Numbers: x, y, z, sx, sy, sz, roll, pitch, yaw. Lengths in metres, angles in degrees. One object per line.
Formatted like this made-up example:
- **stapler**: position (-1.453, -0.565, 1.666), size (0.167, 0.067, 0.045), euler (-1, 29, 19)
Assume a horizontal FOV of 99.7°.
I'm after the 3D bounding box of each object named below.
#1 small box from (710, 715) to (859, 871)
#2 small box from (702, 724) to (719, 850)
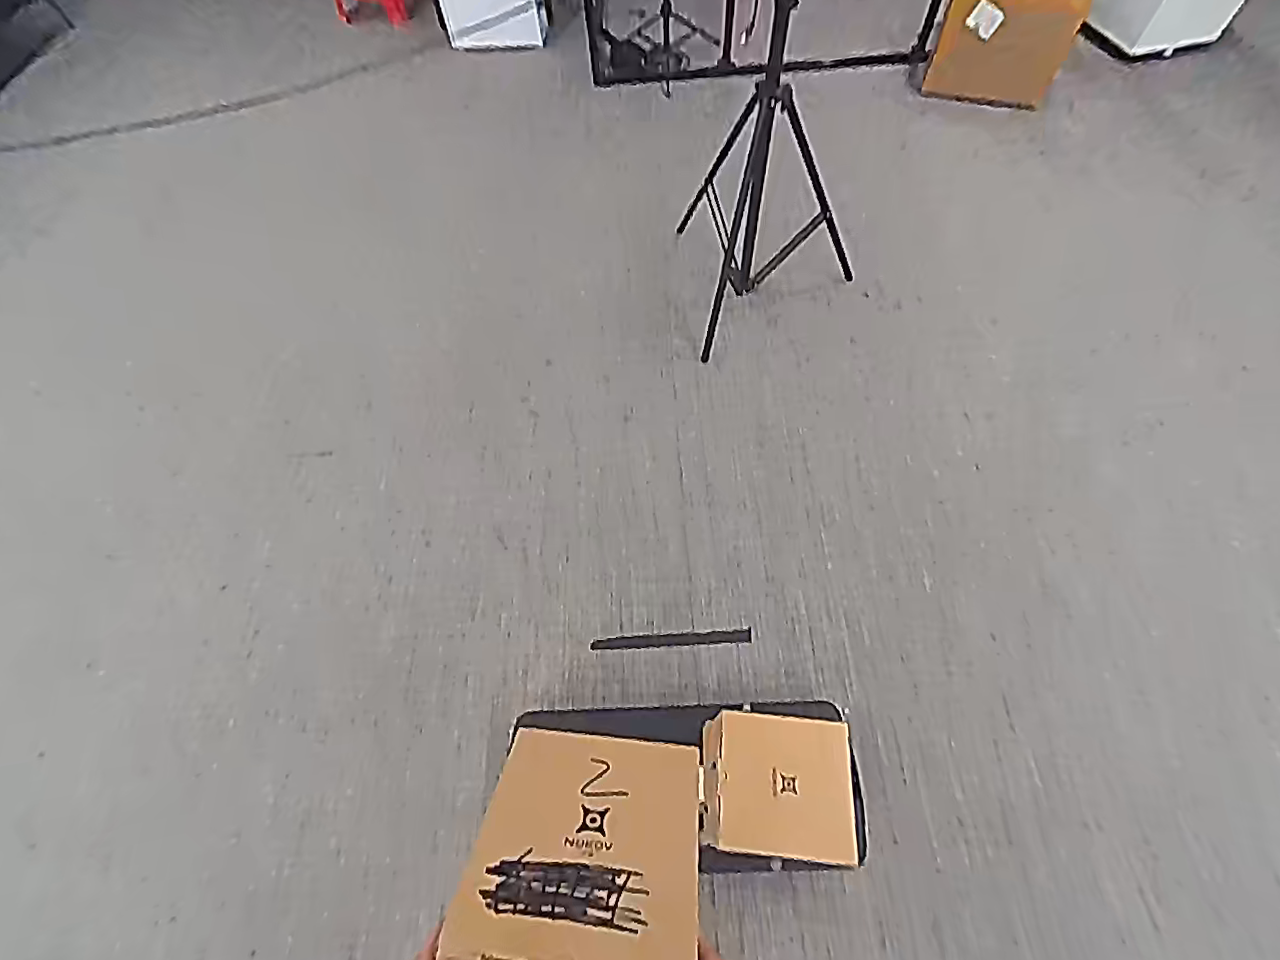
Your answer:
- **small box**: position (0.196, 0.442, 0.780), size (0.179, 0.176, 0.168), euler (3, 61, 6)
- **small box**: position (0.194, 0.522, 0.922), size (0.168, 0.176, 0.179), euler (1, 60, 4)
